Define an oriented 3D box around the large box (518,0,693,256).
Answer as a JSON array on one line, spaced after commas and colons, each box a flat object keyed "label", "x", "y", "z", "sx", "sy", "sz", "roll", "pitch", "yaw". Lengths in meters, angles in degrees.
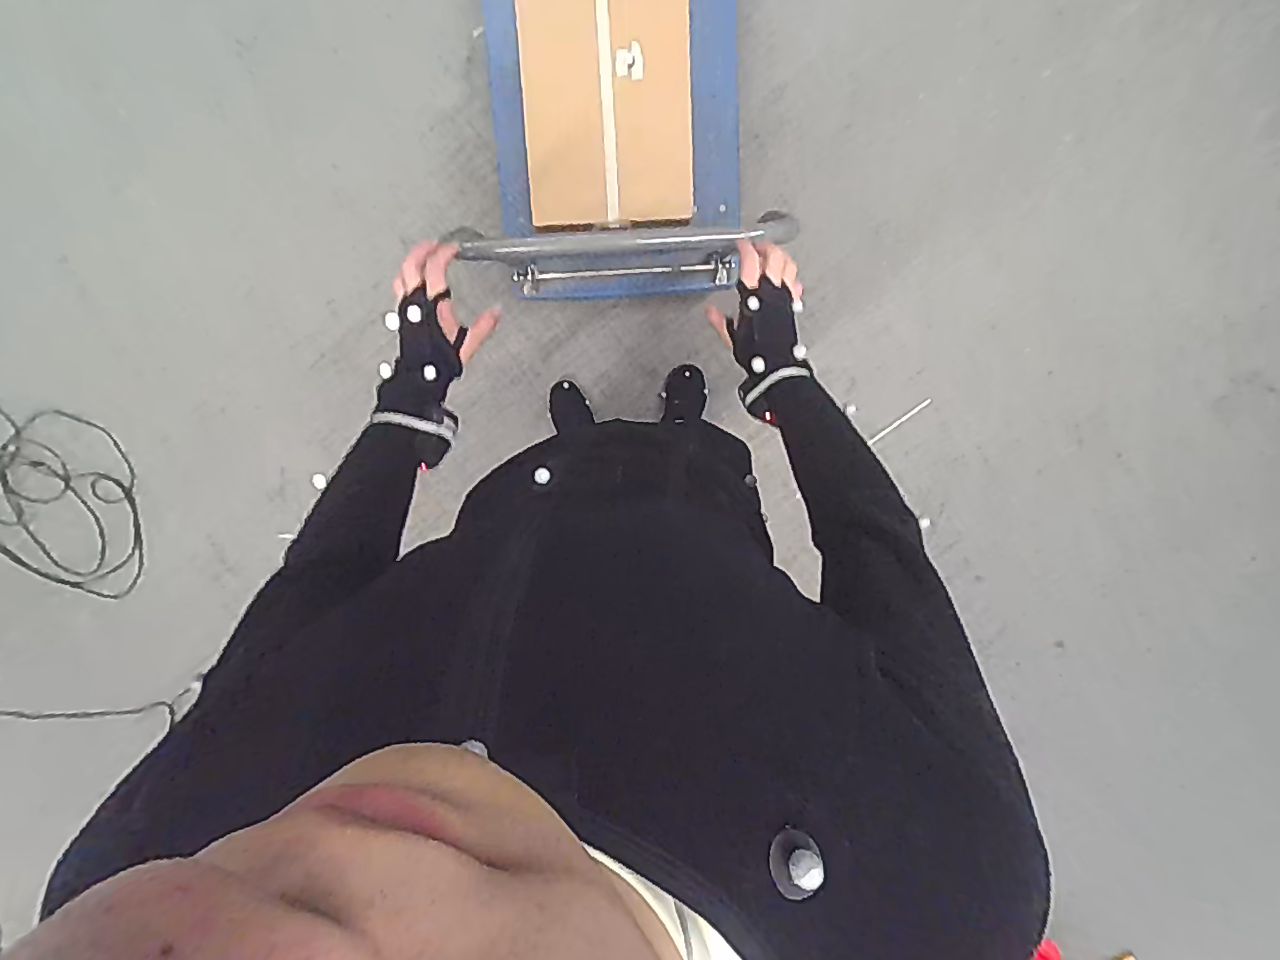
[{"label": "large box", "x": -0.057, "y": -0.729, "z": 1.163, "sx": 0.320, "sy": 0.320, "sz": 0.408, "roll": -2, "pitch": 102, "yaw": 1}]
